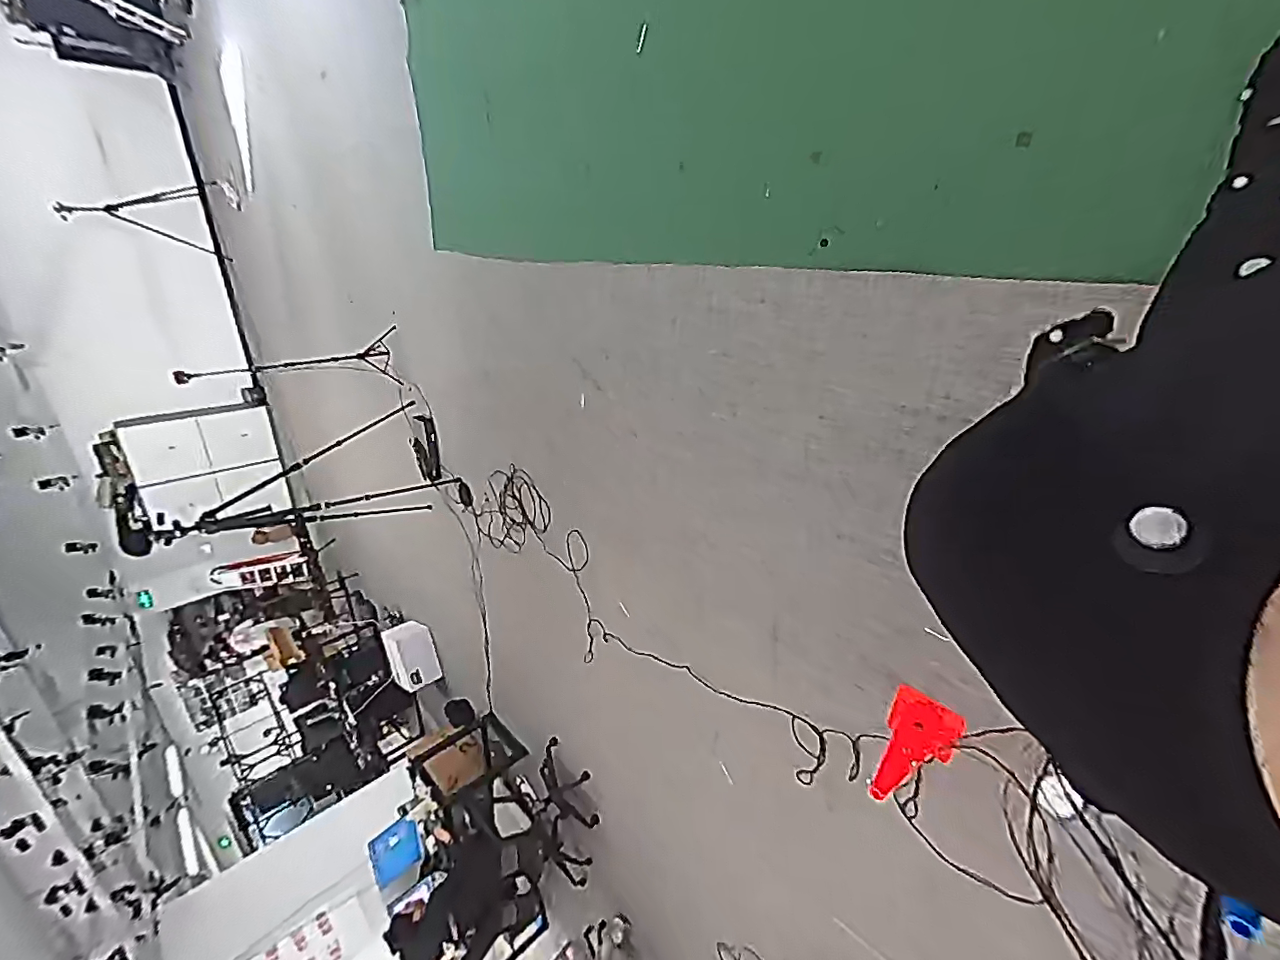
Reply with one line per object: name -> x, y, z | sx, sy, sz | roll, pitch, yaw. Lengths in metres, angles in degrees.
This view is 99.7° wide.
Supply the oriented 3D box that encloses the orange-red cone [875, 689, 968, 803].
orange-red cone -> 0.783, 0.818, 1.591 | 0.198, 0.360, 0.199 | 27, 123, 38
